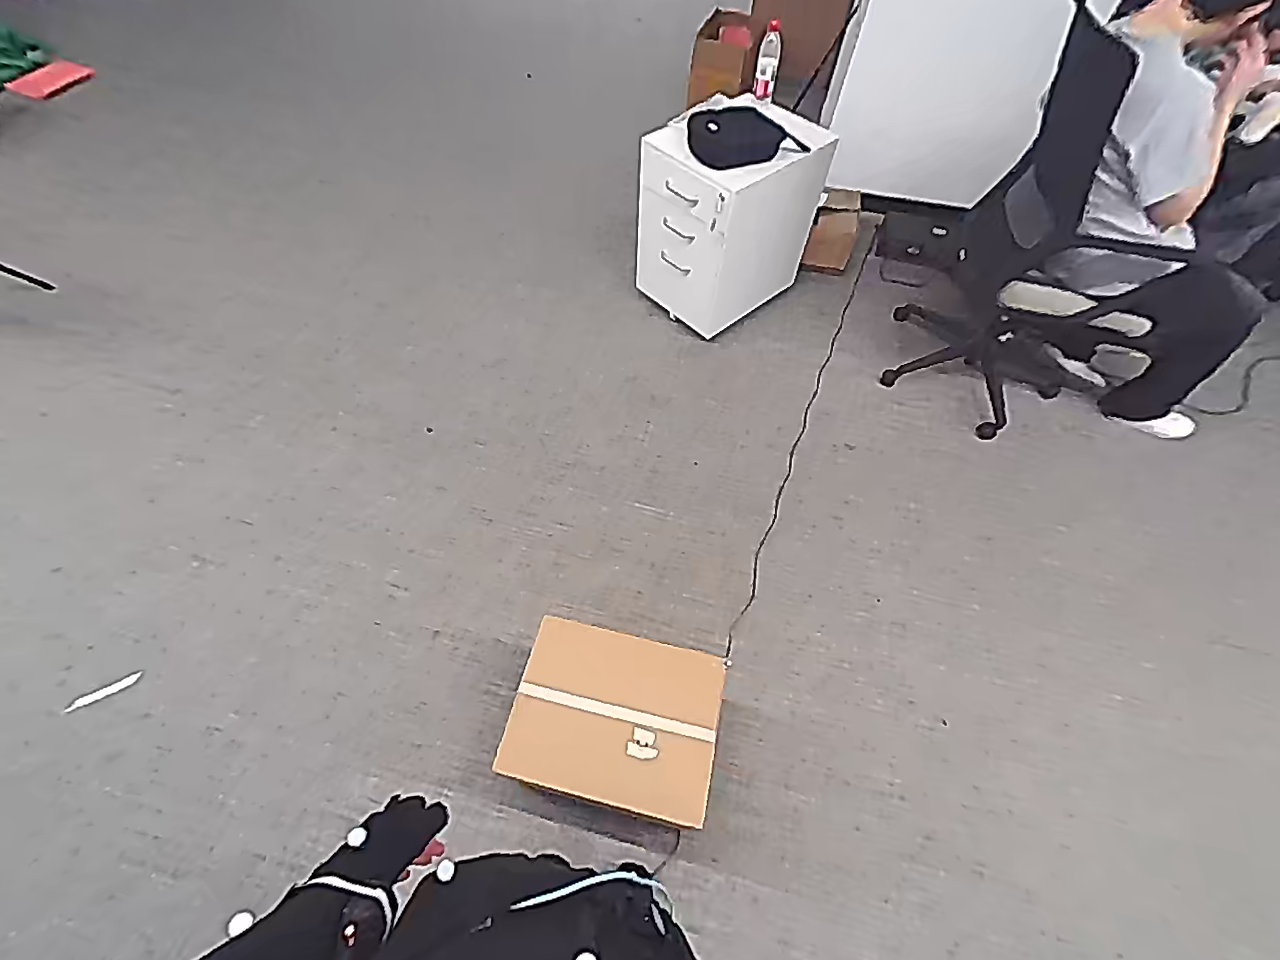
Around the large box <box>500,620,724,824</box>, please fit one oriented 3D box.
[{"bbox_3d":[-0.052,0.549,1.214,0.408,0.320,0.320,12,58,5],"label":"large box"}]
